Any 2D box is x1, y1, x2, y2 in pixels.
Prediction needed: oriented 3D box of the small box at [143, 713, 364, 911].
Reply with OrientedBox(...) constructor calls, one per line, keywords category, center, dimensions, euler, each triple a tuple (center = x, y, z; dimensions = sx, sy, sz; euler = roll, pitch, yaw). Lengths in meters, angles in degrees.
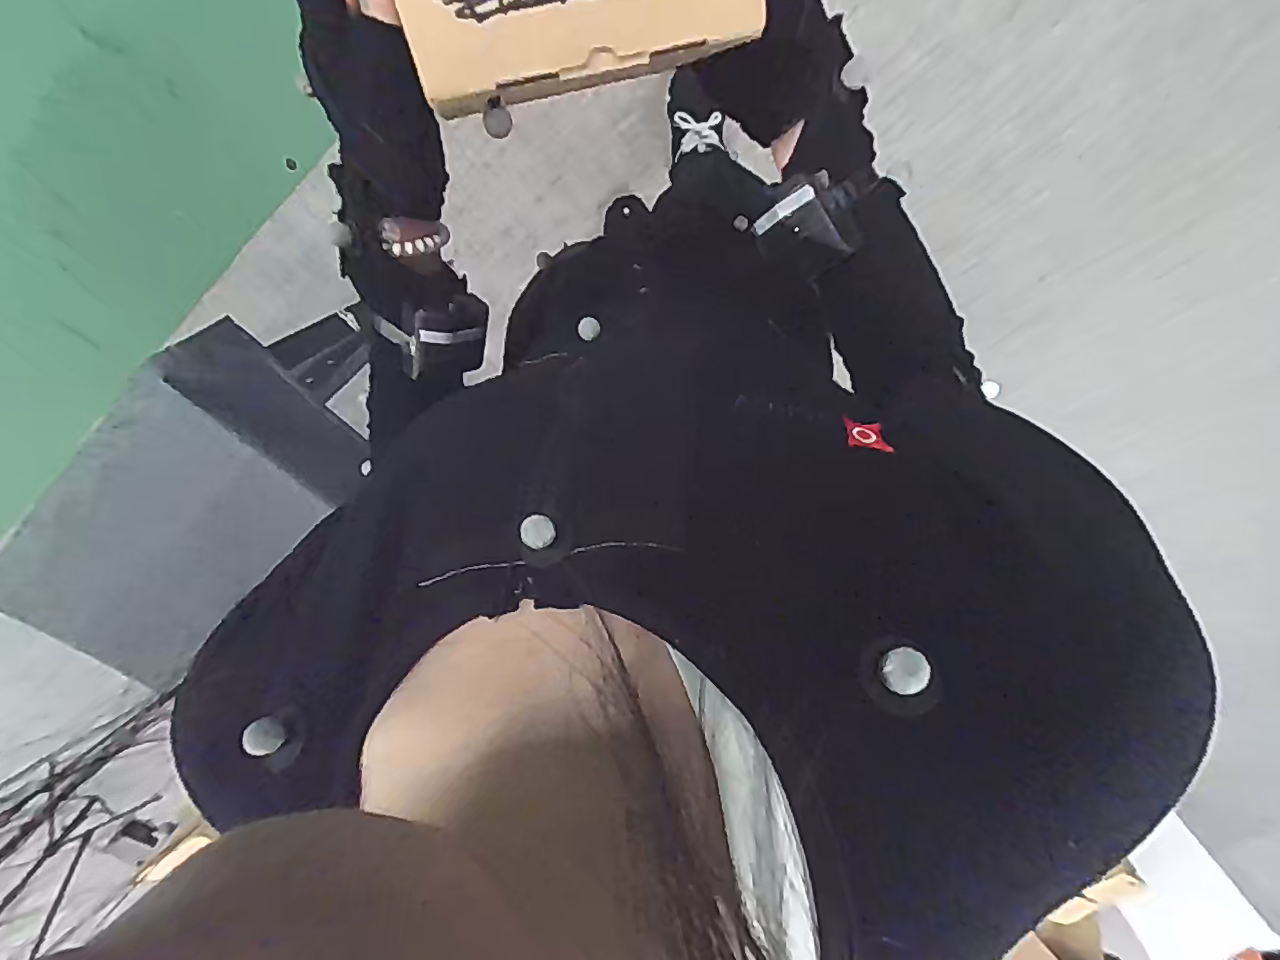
OrientedBox(category="small box", center=(-0.546, 0.480, 0.791), dimensions=(0.179, 0.176, 0.168), euler=(-36, 114, 19))
